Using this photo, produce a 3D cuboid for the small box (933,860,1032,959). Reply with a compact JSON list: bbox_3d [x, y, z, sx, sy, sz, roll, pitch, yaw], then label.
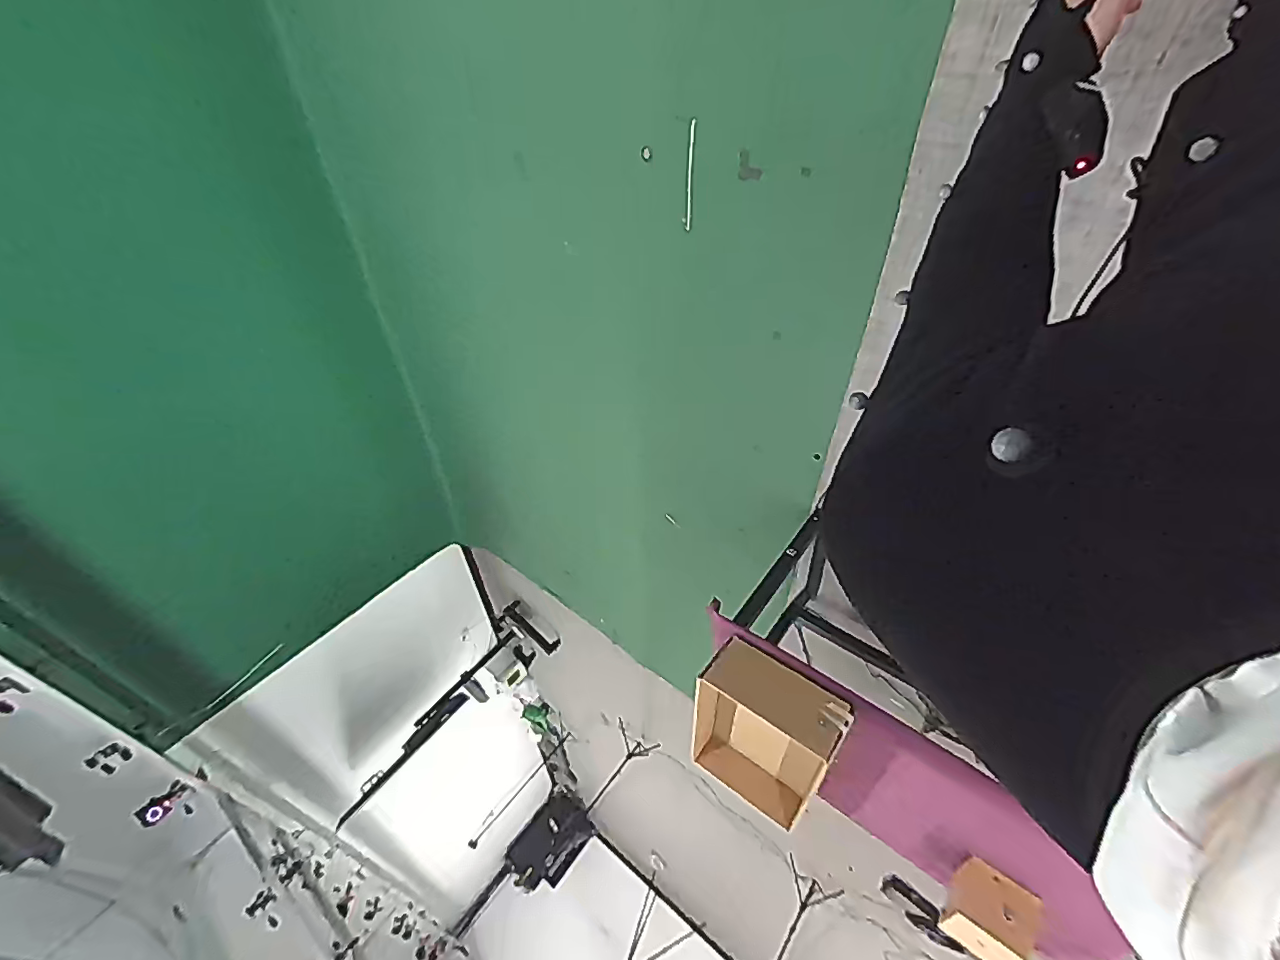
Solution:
[{"bbox_3d":[0.931,1.181,1.467,0.168,0.176,0.179,26,139,29],"label":"small box"}]
